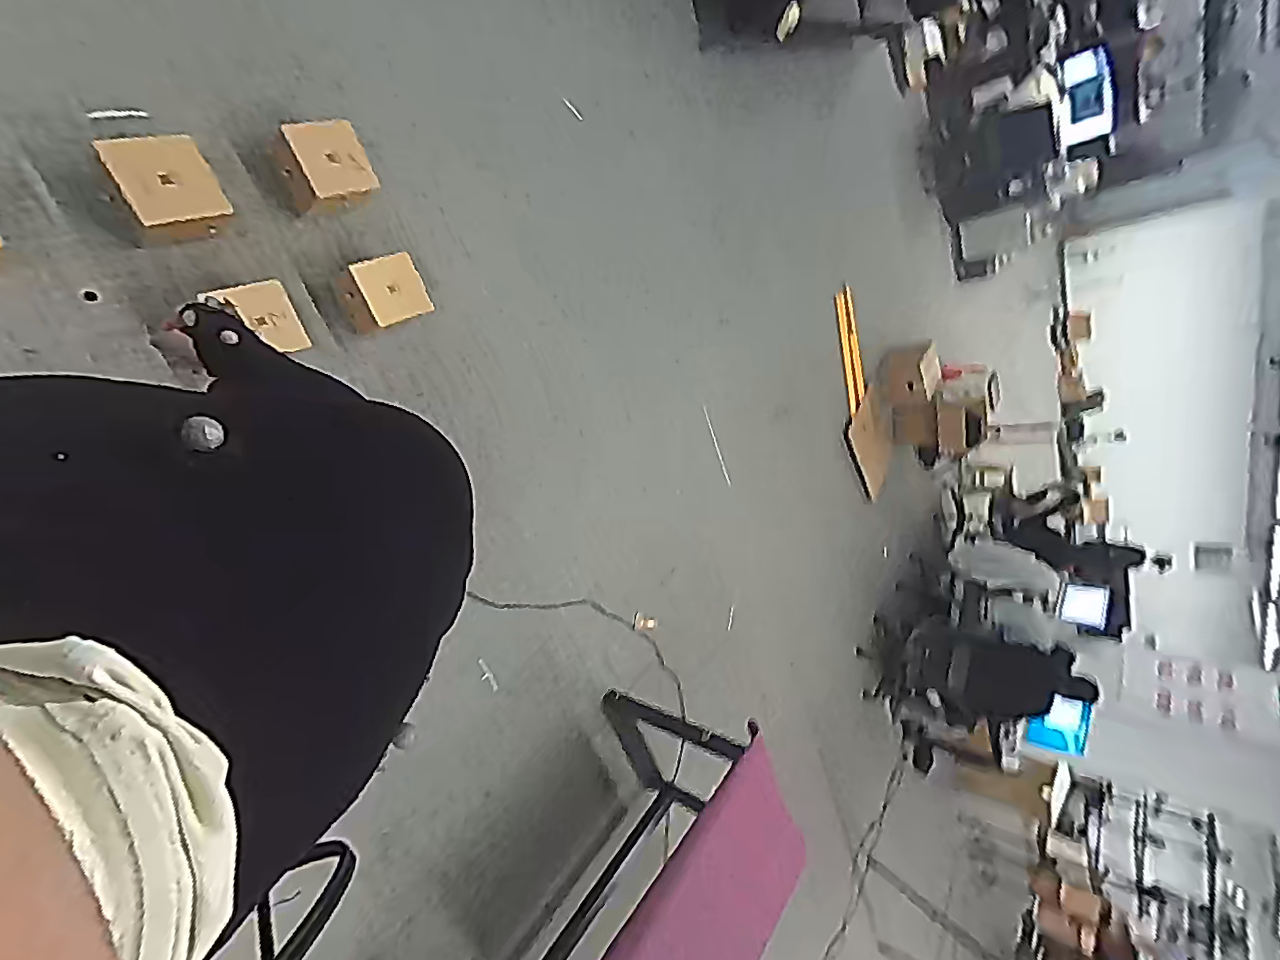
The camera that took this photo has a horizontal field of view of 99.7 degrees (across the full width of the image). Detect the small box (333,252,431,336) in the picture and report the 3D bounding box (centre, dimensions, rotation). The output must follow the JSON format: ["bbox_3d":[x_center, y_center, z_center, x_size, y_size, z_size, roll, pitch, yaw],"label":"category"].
[{"bbox_3d":[-0.731,-0.518,1.520,0.179,0.176,0.168,-38,116,-39],"label":"small box"}]

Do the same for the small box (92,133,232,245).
[{"bbox_3d":[-1.053,-0.638,1.191,0.179,0.176,0.168,-36,115,-39],"label":"small box"}]

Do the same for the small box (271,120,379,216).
[{"bbox_3d":[-0.829,-0.810,1.412,0.179,0.176,0.168,-38,117,-39],"label":"small box"}]

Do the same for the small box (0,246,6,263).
[{"bbox_3d":[-1.292,-0.470,0.952,0.179,0.176,0.168,-33,113,-39],"label":"small box"}]
